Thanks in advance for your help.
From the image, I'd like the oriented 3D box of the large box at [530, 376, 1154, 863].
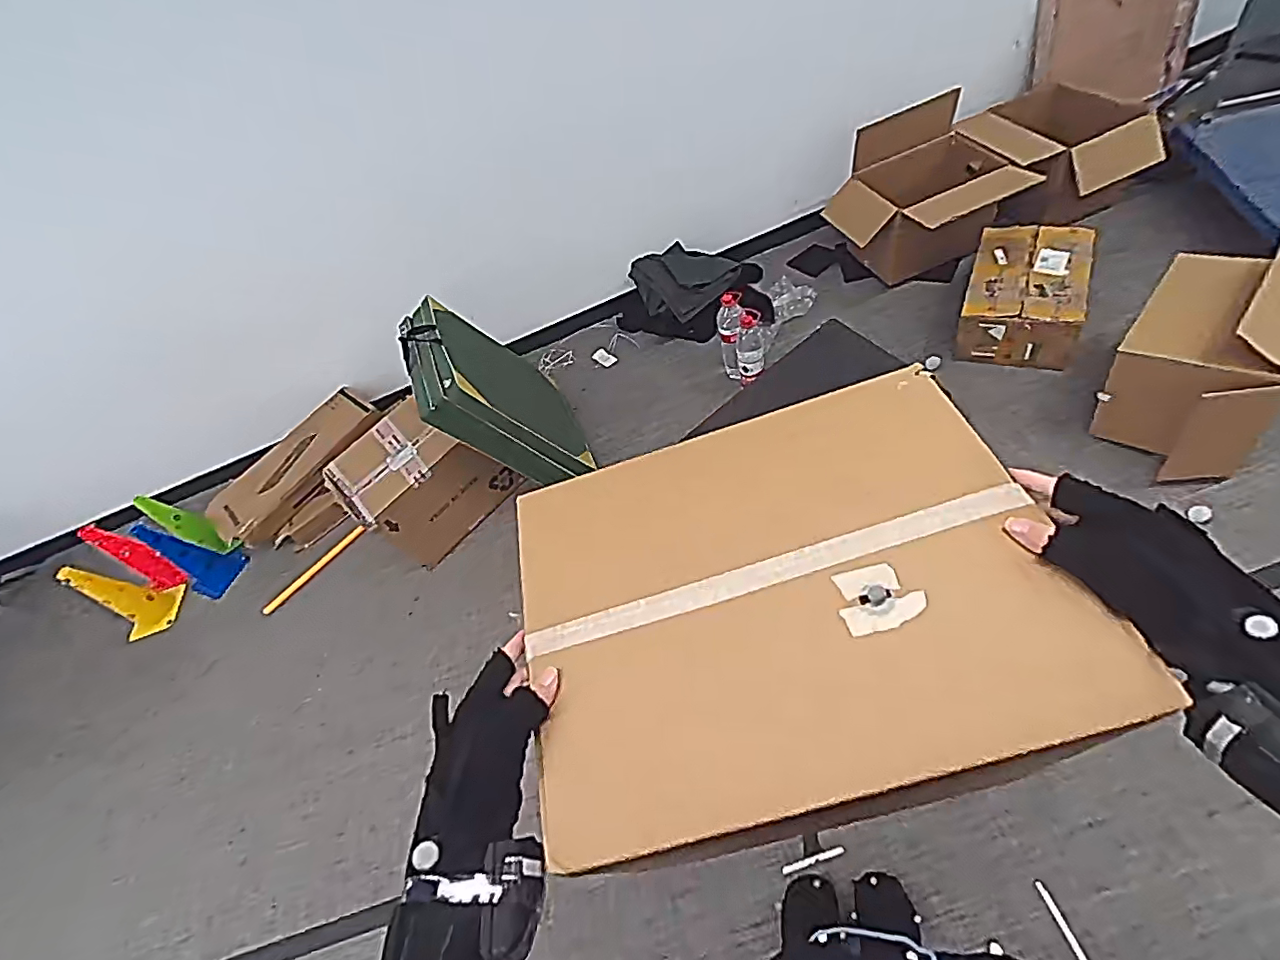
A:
[{"bbox_3d":[0.142,0.161,0.558,0.408,0.320,0.320,-18,53,4],"label":"large box"}]
